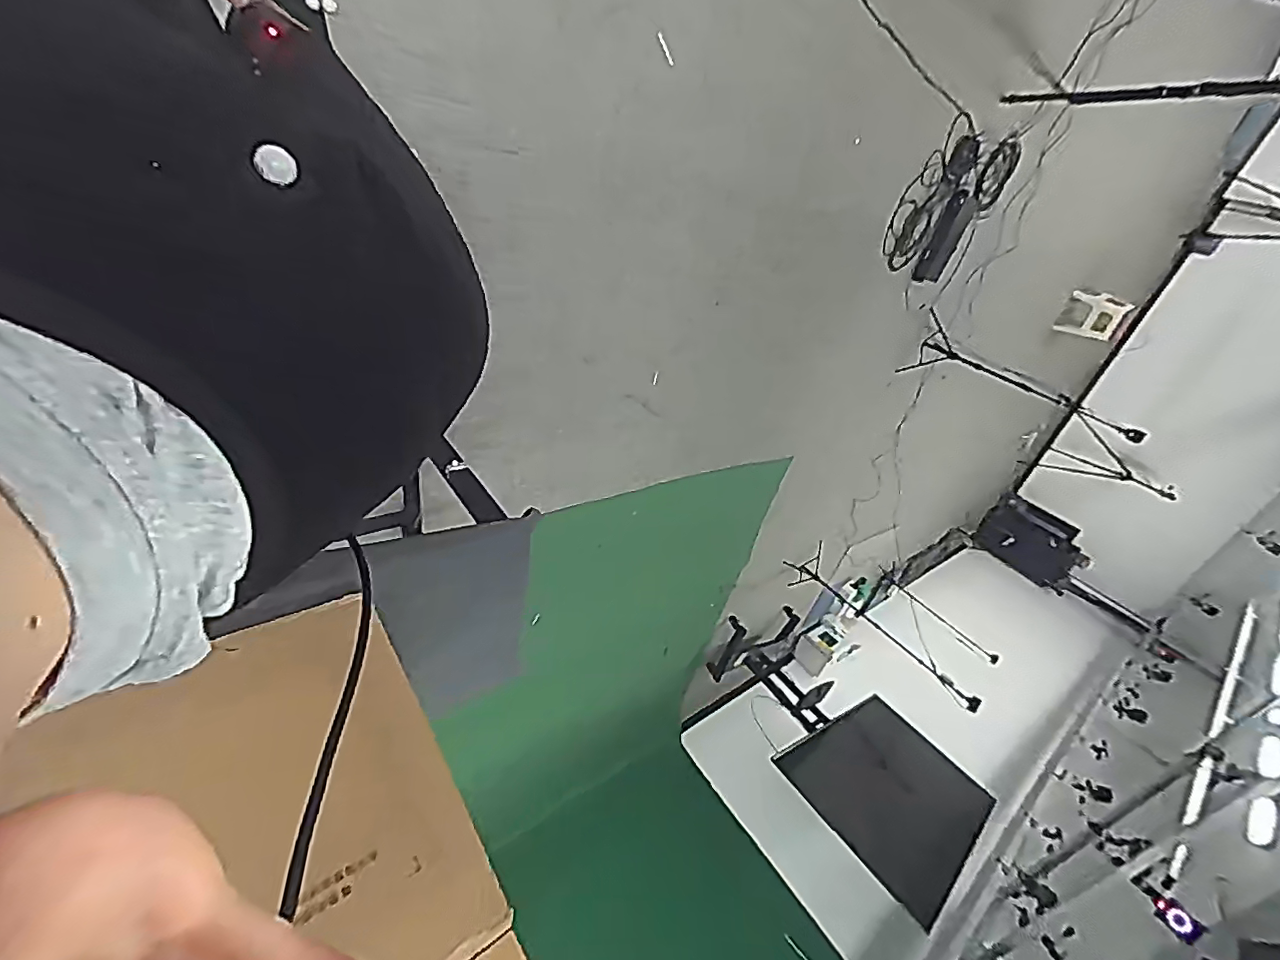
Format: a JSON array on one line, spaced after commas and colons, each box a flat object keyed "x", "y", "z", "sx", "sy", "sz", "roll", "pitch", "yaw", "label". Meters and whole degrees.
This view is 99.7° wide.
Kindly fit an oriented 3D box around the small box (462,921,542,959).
[{"x": -0.184, "y": 0.694, "z": 0.657, "sx": 0.168, "sy": 0.176, "sz": 0.179, "roll": -17, "pitch": 134, "yaw": -37, "label": "small box"}]
